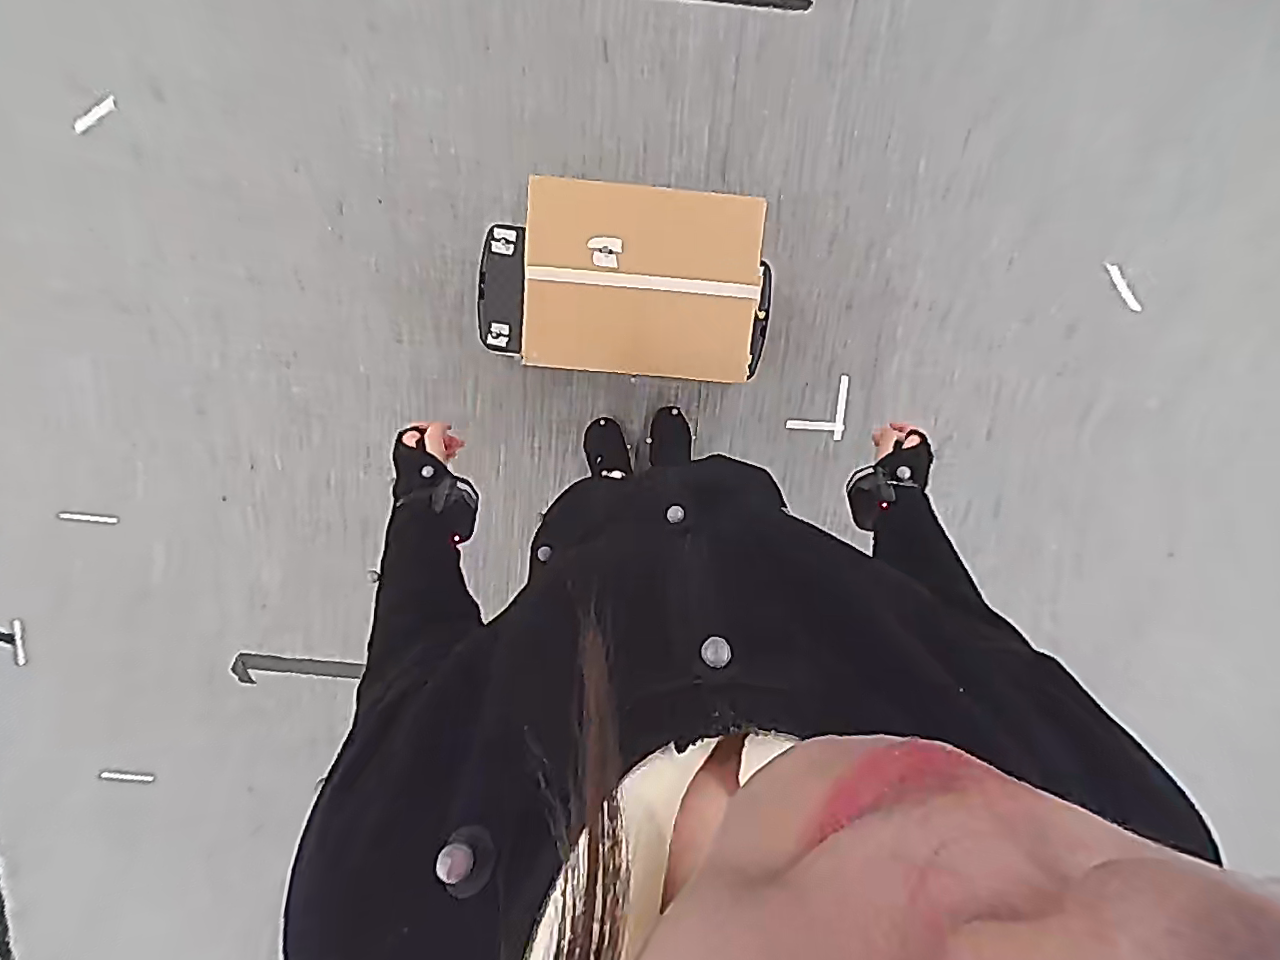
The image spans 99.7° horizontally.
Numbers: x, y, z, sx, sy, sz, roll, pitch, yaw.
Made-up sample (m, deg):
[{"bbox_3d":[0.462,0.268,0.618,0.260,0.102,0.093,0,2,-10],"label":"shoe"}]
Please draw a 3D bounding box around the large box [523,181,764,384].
[{"bbox_3d":[0.003,-0.363,1.074,0.408,0.320,0.320,5,100,-1],"label":"large box"}]
